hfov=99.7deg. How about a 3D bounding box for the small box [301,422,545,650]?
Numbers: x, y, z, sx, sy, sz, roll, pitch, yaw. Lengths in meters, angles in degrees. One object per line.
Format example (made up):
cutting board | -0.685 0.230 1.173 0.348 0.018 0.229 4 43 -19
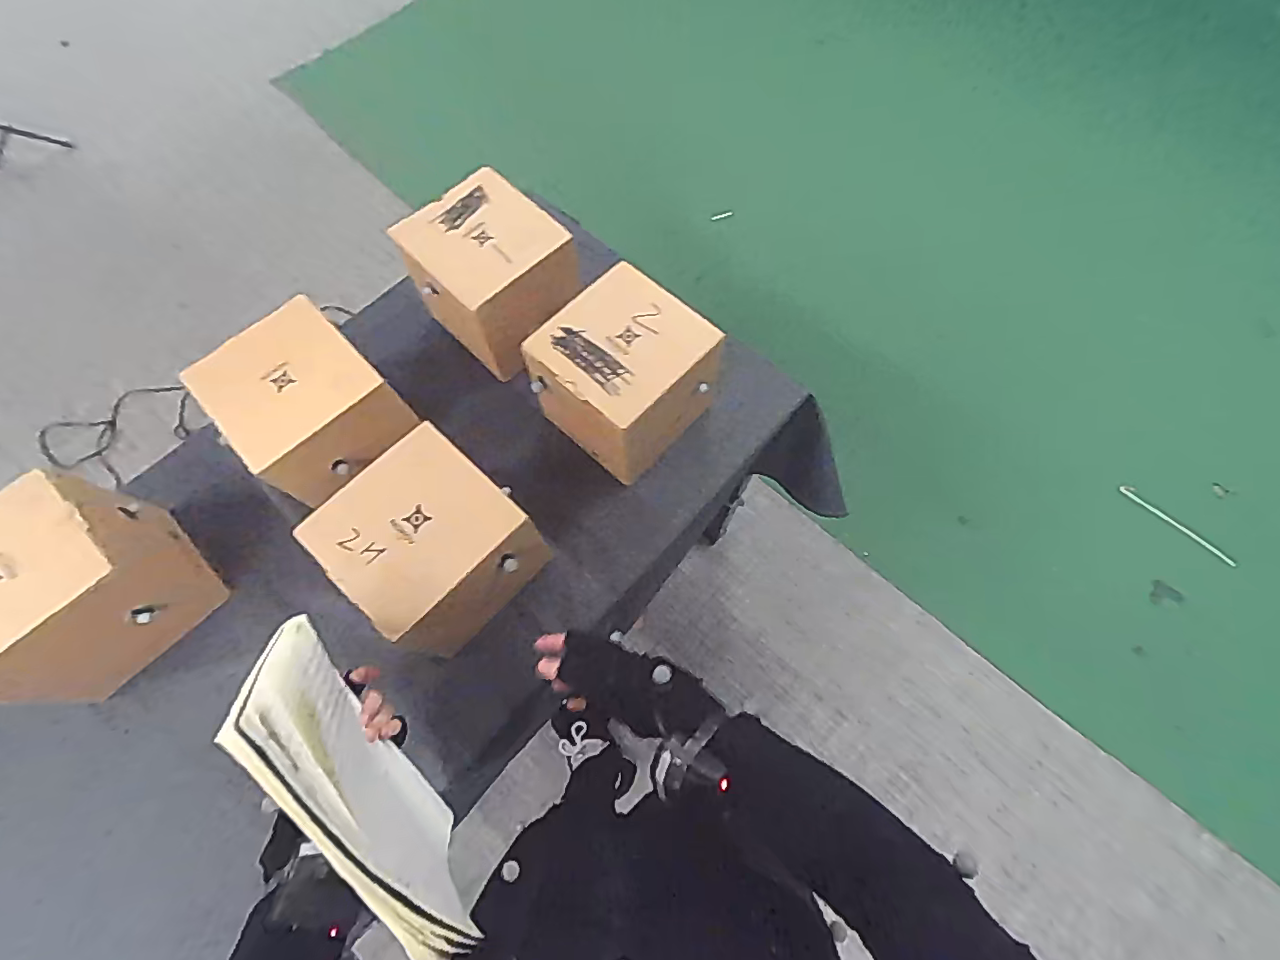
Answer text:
small box | -0.227 0.073 0.622 0.168 0.176 0.179 41 75 16

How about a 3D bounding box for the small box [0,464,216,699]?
small box | -0.630 0.119 0.605 0.168 0.176 0.179 42 73 15

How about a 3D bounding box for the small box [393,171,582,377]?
small box | -0.201 -0.280 0.762 0.168 0.176 0.179 -43 75 -14

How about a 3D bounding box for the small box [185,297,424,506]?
small box | -0.403 -0.086 0.689 0.168 0.176 0.179 -43 74 -15
